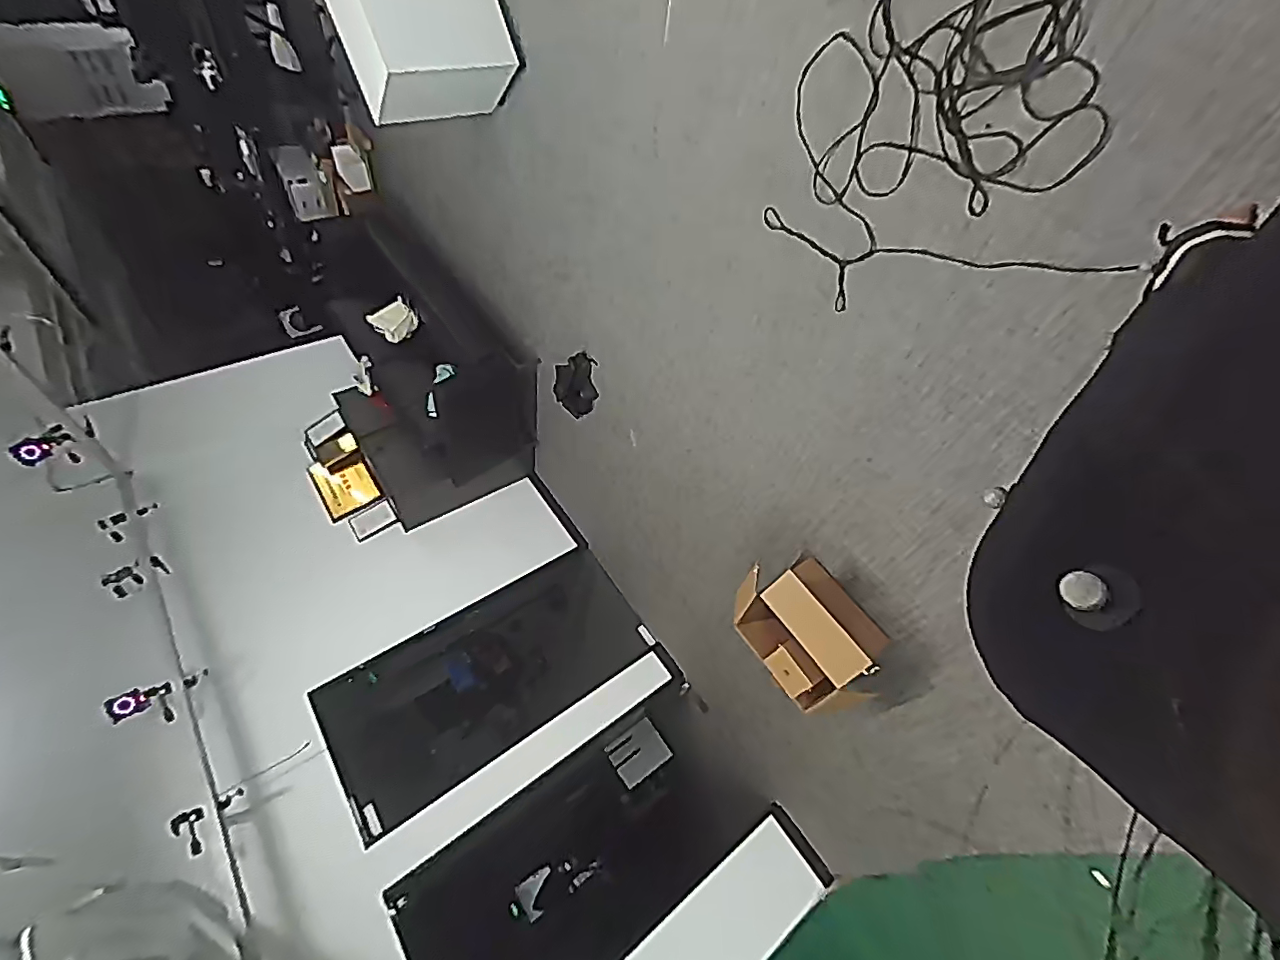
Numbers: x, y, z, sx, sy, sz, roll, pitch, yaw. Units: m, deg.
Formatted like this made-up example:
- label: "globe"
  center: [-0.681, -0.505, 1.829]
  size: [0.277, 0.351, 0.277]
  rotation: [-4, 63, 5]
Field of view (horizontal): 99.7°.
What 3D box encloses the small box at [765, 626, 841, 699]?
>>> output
- label: "small box"
  center: [0.597, 0.666, 1.975]
  size: [0.168, 0.176, 0.179]
  rotation: [53, 148, 23]
